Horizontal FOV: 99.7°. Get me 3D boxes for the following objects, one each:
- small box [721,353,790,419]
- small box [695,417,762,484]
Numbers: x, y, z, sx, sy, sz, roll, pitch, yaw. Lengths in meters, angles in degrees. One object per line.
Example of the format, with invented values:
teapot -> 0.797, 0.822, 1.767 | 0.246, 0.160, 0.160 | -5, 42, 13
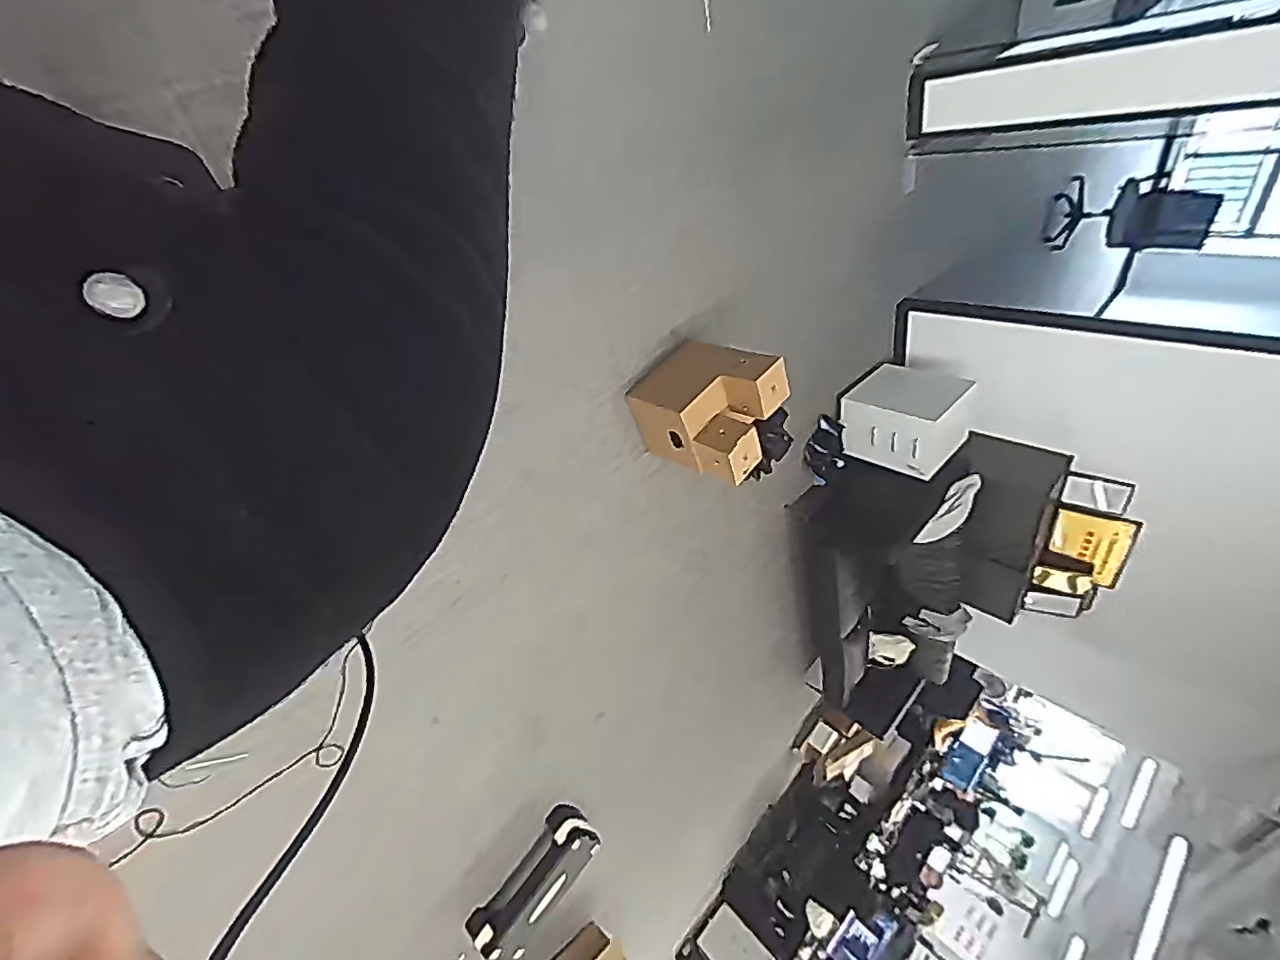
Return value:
small box -> 0.432, -0.359, 2.028 | 0.168, 0.176, 0.179 | -44, 130, -22
small box -> 0.333, -0.119, 2.041 | 0.168, 0.176, 0.179 | -46, 136, -19
